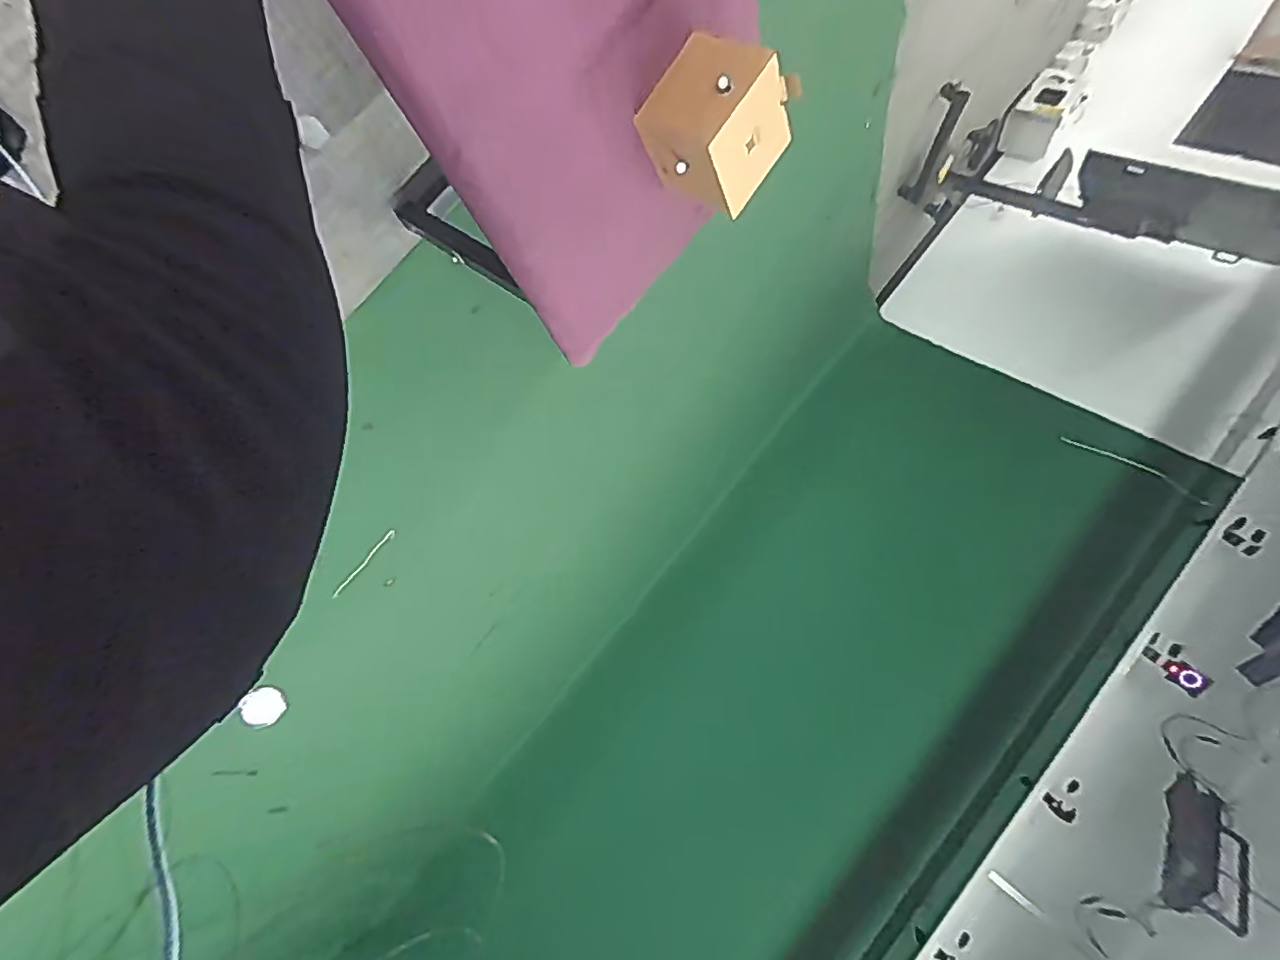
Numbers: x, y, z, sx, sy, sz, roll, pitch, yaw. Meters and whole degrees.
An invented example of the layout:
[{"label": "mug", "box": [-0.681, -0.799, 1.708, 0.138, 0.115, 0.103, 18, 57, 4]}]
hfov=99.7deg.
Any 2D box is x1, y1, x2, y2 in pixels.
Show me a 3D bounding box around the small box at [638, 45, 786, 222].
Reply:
[{"label": "small box", "box": [0.118, -0.585, 0.916, 0.179, 0.176, 0.168, -55, 153, 1]}]
